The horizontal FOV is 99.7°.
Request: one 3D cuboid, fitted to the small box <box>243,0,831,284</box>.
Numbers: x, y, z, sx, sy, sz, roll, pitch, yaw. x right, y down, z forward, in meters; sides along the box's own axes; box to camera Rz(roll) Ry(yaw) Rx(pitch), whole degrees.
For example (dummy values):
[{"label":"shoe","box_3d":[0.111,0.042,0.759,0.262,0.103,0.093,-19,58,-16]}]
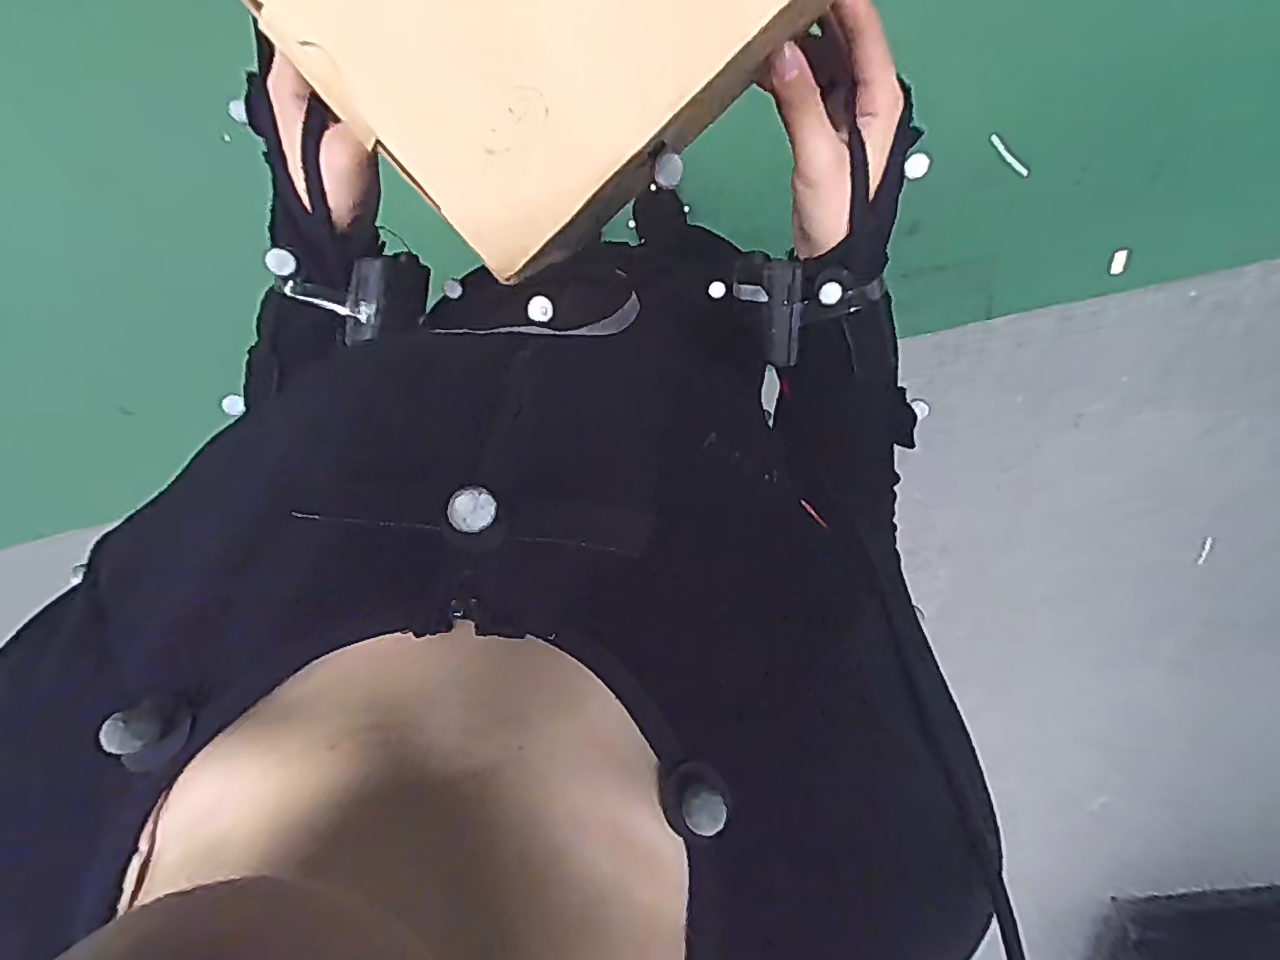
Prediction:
[{"label":"small box","box_3d":[-0.030,-0.209,0.219,0.179,0.176,0.168,-36,109,19]}]
